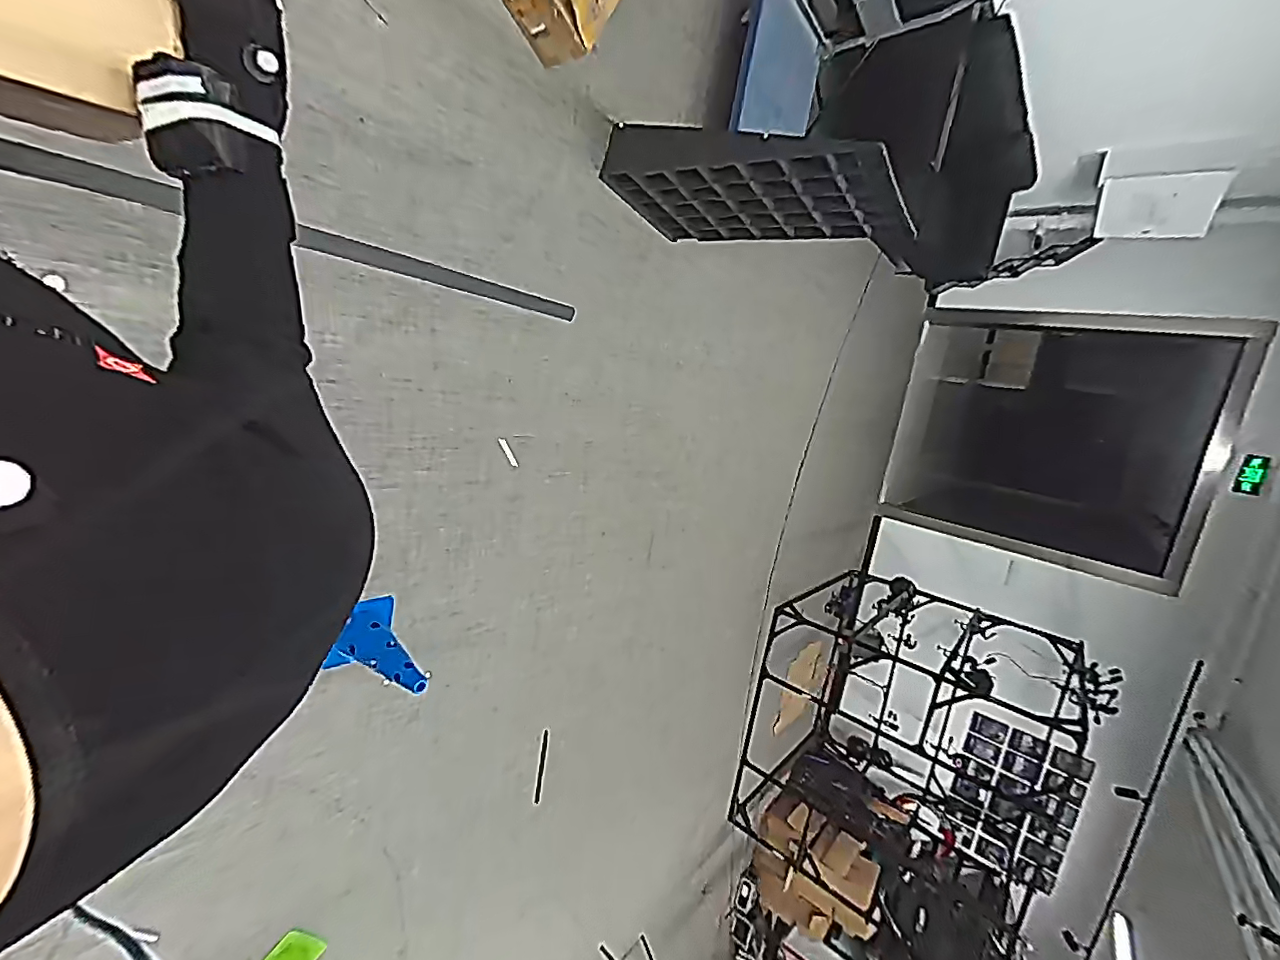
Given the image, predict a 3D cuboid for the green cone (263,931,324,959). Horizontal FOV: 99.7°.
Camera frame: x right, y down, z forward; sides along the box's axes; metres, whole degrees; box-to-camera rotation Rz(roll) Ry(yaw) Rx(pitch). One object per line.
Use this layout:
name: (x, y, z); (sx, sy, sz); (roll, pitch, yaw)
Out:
green cone: (-0.999, 1.583, 1.604); (0.202, 0.368, 0.200); (-47, 138, -32)

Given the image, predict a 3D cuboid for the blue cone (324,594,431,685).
blue cone: (-0.724, 0.487, 1.542); (0.192, 0.380, 0.193); (2, 103, -54)

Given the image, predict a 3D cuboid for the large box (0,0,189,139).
large box: (-0.547, -0.428, 0.290); (0.408, 0.320, 0.320); (-10, 117, -50)
